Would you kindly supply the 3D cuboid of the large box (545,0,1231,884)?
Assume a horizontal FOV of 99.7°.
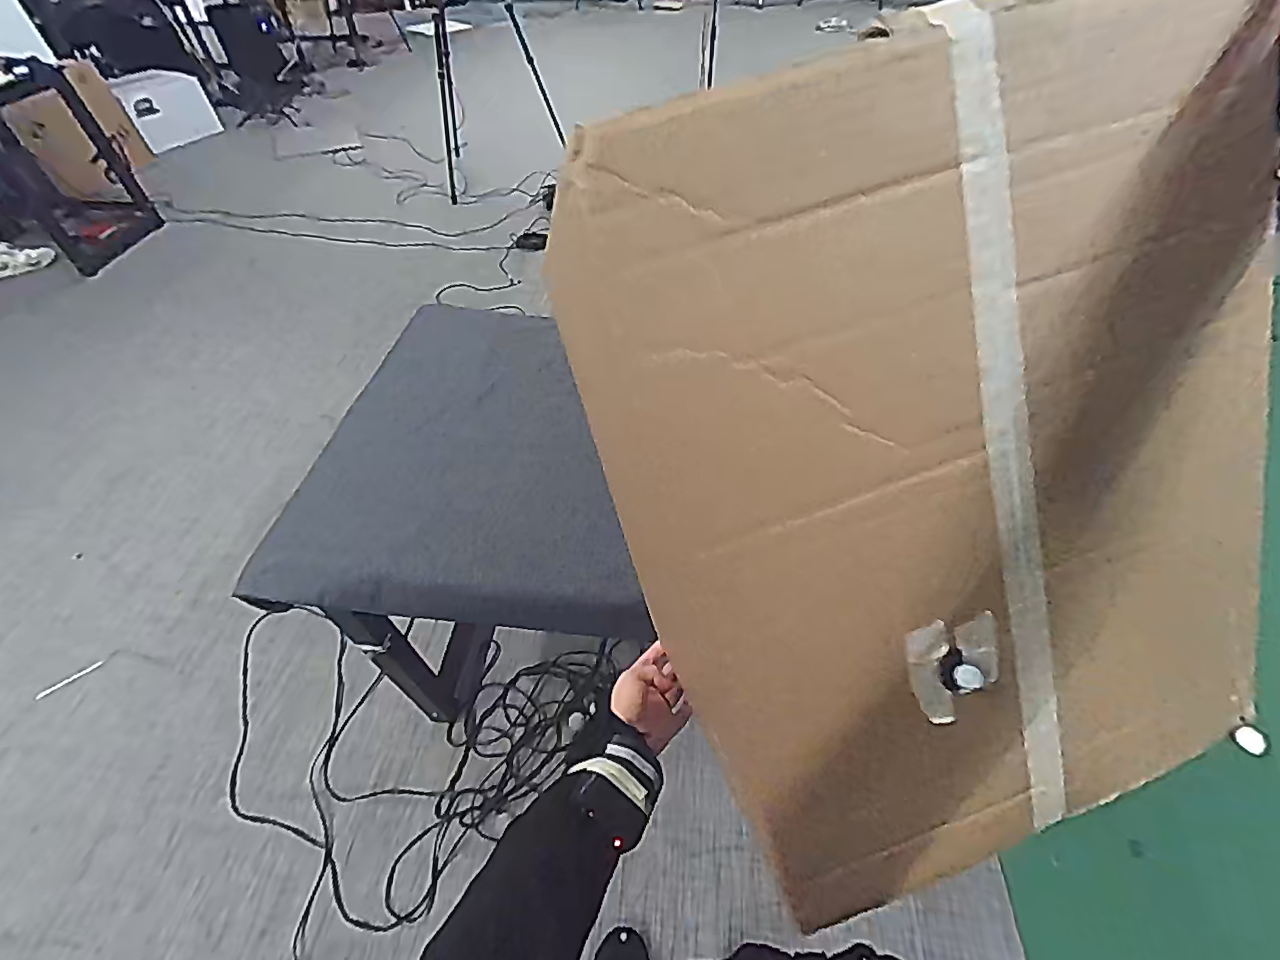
[{"bbox_3d":[0.148,-0.026,0.421,0.320,0.408,0.320,-20,18,-8],"label":"large box"}]
